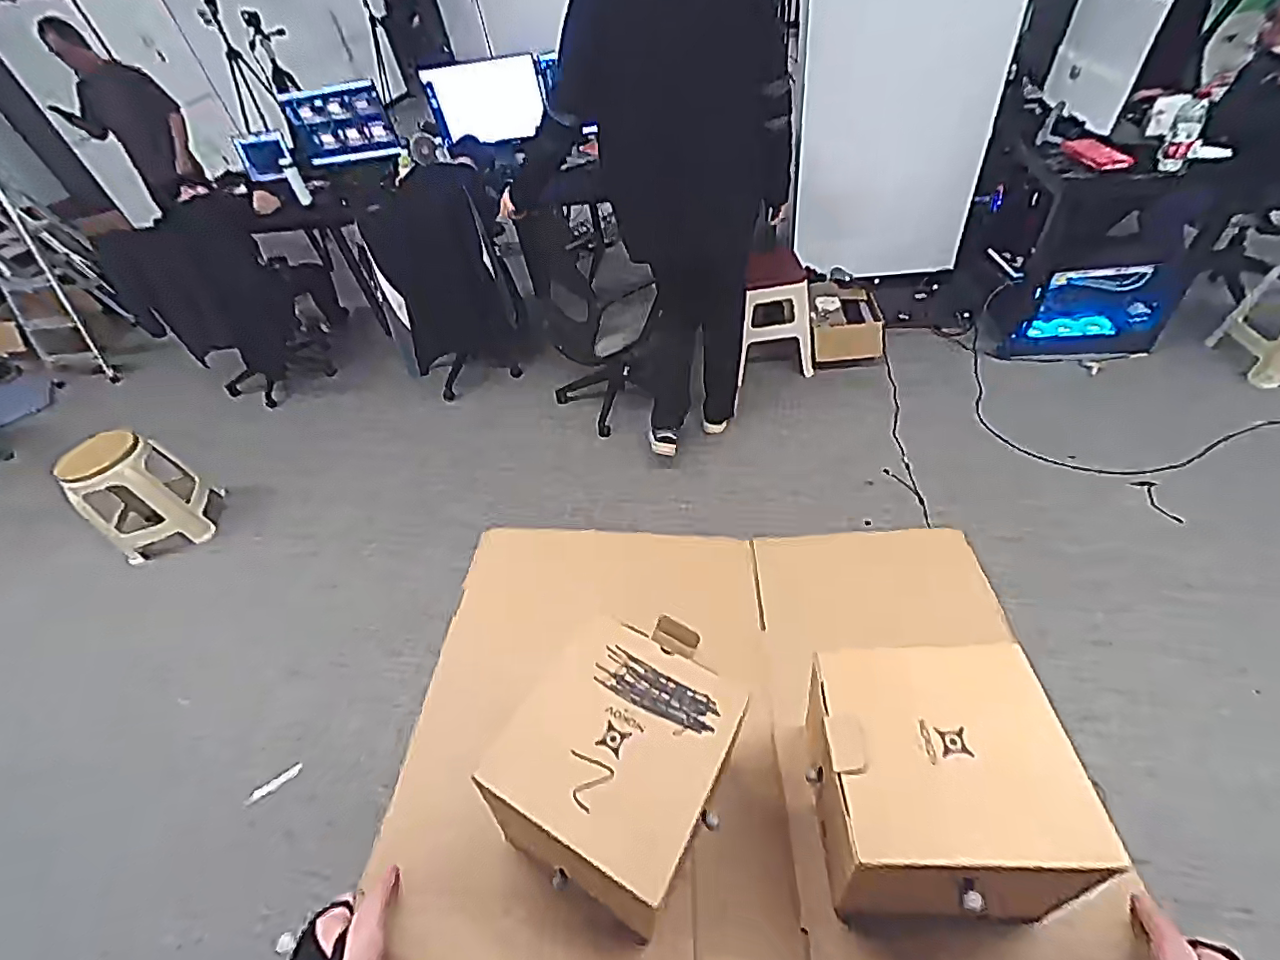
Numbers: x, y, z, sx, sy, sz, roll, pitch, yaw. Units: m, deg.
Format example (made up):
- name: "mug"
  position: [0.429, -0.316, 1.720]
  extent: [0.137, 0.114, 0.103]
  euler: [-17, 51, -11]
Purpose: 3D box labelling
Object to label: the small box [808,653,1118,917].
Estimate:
- name: "small box"
  position: [0.258, 0.275, 0.490]
  extent: [0.179, 0.176, 0.168]
  euler: [-5, 42, 8]
